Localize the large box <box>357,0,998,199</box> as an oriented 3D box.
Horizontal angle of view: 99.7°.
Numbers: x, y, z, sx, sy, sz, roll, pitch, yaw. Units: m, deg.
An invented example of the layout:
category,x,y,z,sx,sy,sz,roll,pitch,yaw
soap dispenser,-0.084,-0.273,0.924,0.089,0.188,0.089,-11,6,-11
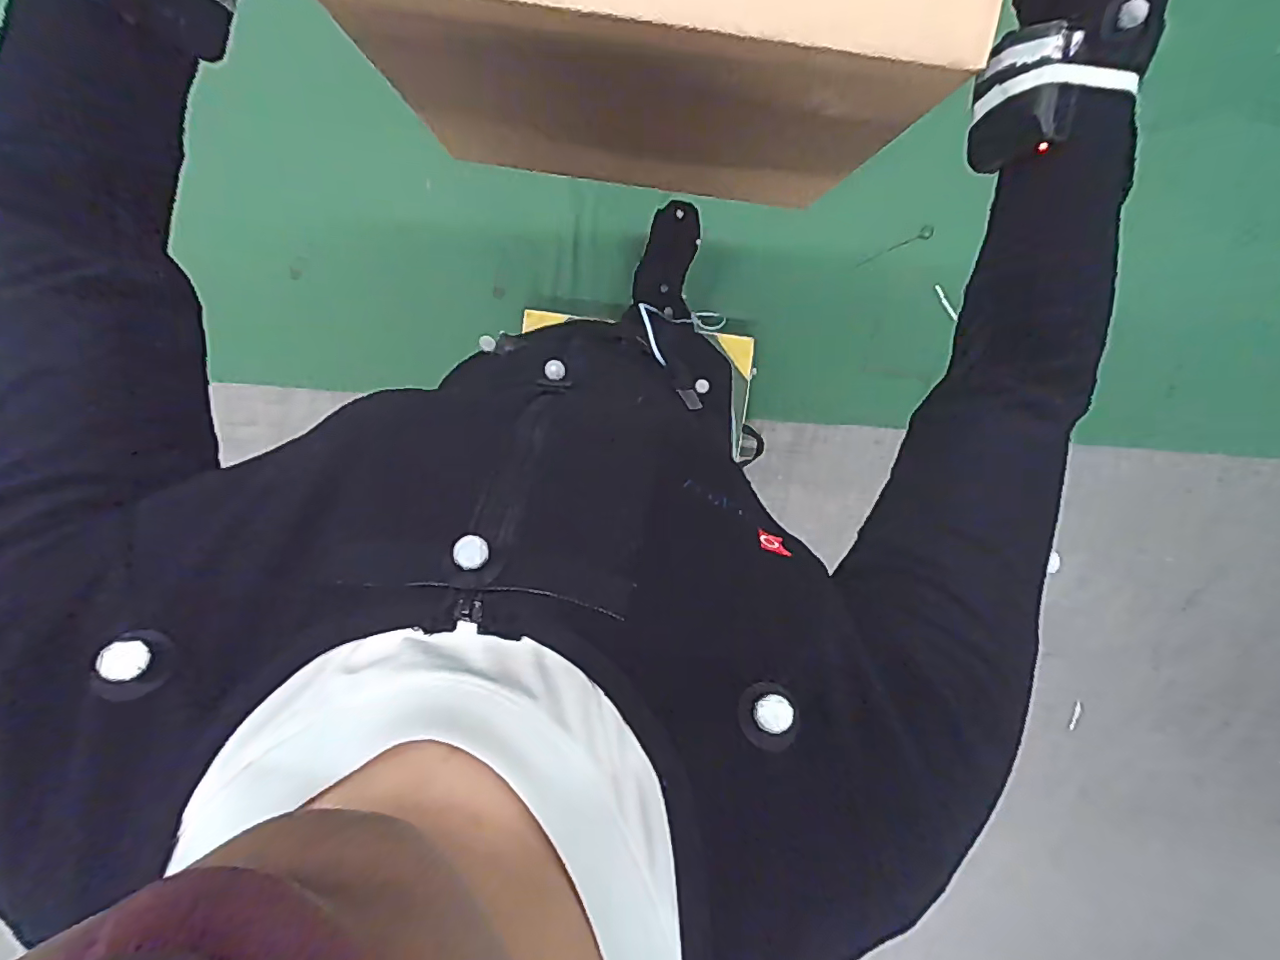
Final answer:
category,x,y,z,sx,sy,sz,roll,pitch,yaw
large box,0.022,-0.453,0.434,0.408,0.320,0.320,5,103,-5
